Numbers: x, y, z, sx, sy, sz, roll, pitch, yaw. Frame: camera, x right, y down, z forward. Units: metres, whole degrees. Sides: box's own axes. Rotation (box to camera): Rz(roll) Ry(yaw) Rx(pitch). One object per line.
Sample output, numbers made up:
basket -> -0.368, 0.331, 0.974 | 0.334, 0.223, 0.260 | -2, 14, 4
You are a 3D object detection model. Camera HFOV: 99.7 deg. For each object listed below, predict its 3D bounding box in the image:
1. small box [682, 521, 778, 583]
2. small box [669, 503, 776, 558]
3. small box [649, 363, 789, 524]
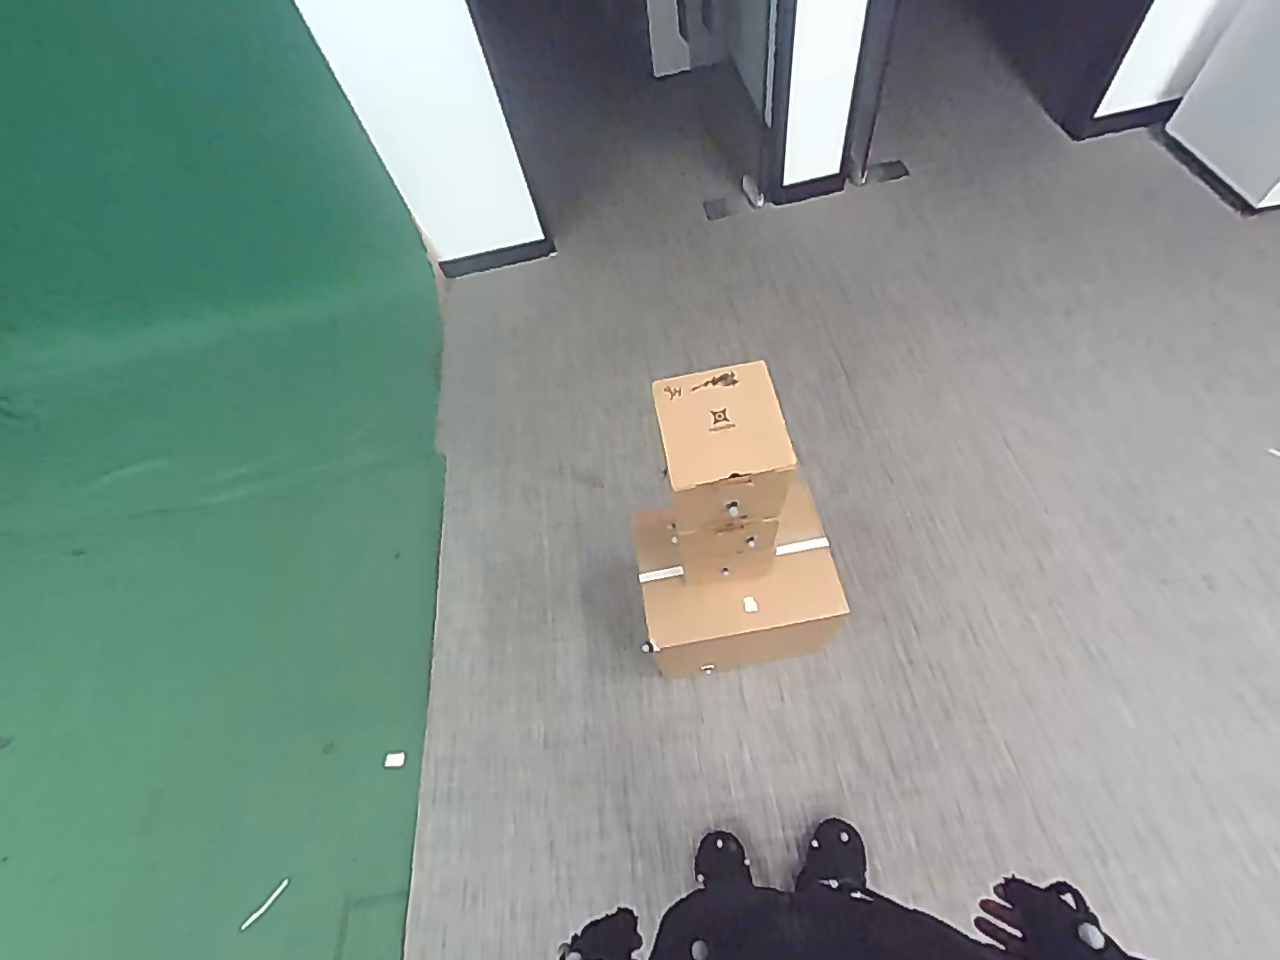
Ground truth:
small box -> 0.166, 0.100, 1.097 | 0.179, 0.176, 0.168 | -11, 65, 3
small box -> 0.134, 0.029, 0.955 | 0.168, 0.176, 0.179 | -10, 63, 3
small box -> 0.114, -0.043, 0.809 | 0.168, 0.176, 0.179 | -11, 65, 3
